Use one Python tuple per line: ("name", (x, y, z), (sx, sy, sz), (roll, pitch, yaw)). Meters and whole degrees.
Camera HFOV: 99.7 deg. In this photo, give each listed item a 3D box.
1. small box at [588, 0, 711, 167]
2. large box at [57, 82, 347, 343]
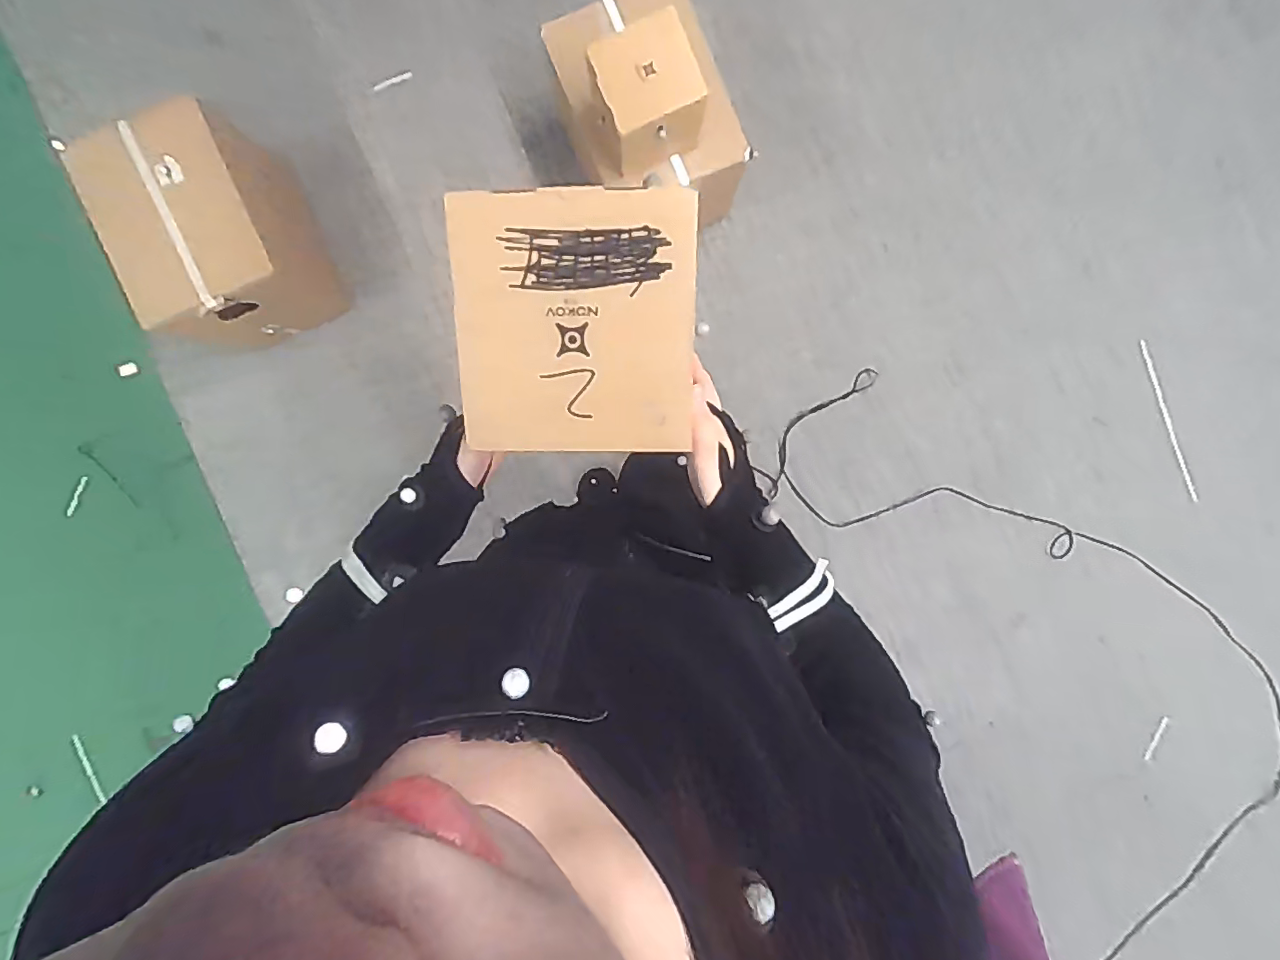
("small box", (0.017, -0.741, 1.029), (0.179, 0.176, 0.168), (-23, 95, 4))
("large box", (-0.984, -0.587, 1.270), (0.320, 0.320, 0.408), (-23, 94, 1))
